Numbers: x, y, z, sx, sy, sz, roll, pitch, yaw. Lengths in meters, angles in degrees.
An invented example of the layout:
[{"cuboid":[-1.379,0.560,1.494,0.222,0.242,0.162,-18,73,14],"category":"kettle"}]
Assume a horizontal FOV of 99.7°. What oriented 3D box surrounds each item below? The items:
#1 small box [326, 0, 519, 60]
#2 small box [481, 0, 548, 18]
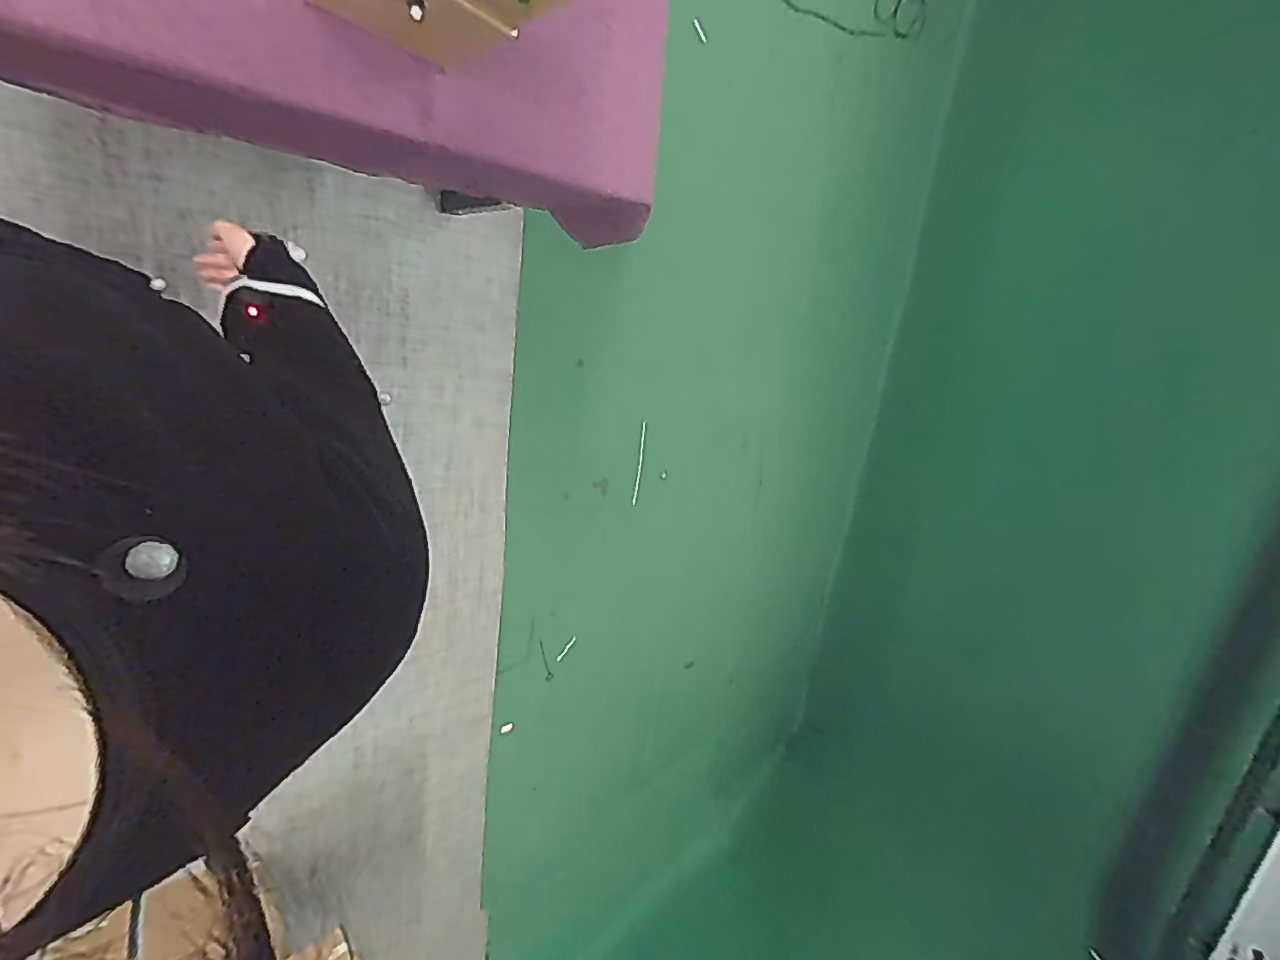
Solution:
[{"cuboid":[-0.240,-0.592,0.576,0.179,0.176,0.168,-5,110,-46],"category":"small box"},{"cuboid":[-0.124,-0.556,0.467,0.168,0.176,0.179,-4,108,-46],"category":"small box"}]
